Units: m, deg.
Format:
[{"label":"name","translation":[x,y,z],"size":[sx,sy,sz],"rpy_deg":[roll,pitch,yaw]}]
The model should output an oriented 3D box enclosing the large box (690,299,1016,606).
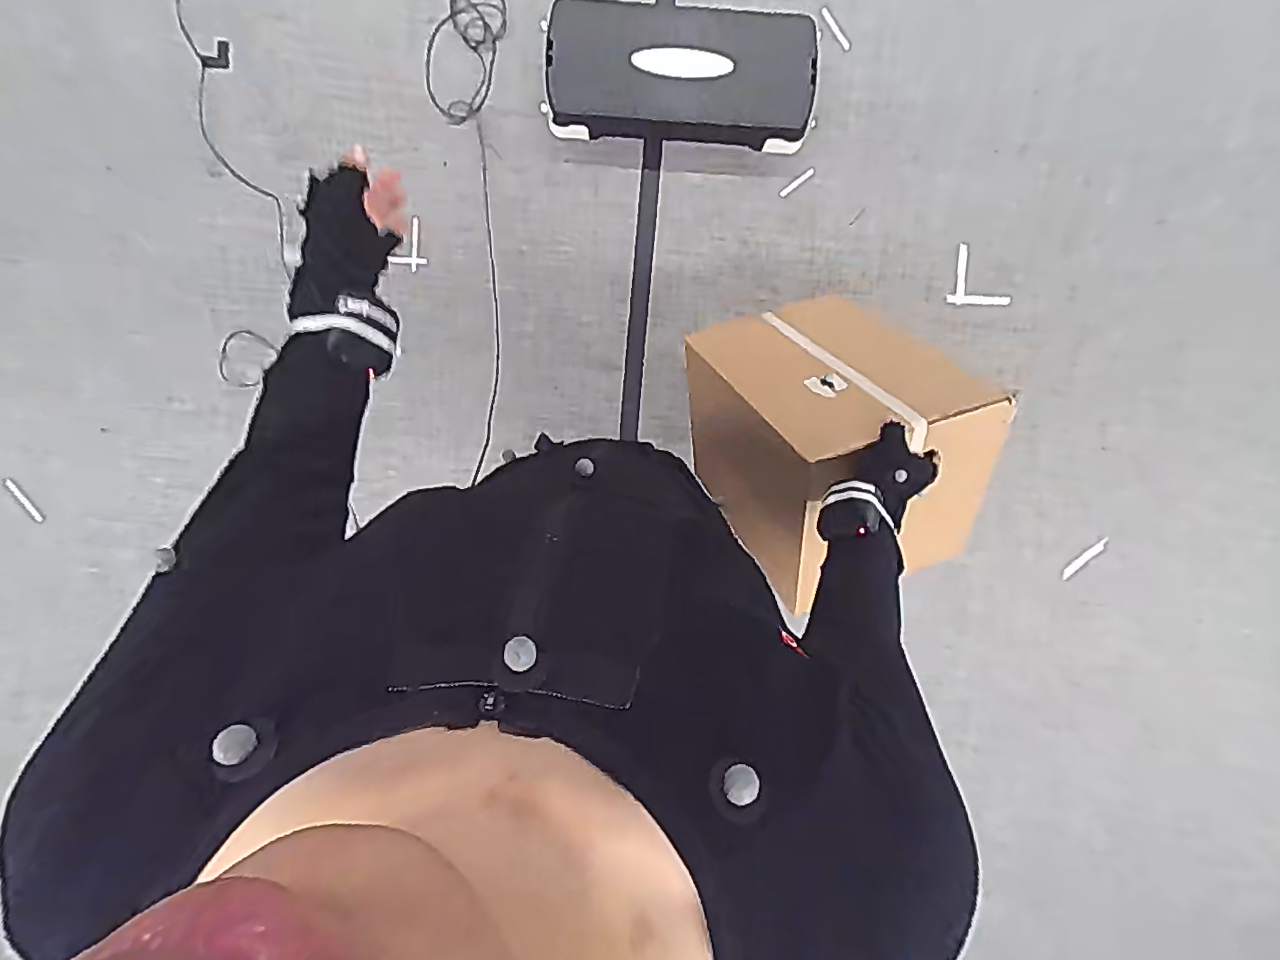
[{"label":"large box","translation":[0.305,-0.067,0.924],"size":[0.320,0.408,0.320],"rpy_deg":[-17,131,-10]}]
